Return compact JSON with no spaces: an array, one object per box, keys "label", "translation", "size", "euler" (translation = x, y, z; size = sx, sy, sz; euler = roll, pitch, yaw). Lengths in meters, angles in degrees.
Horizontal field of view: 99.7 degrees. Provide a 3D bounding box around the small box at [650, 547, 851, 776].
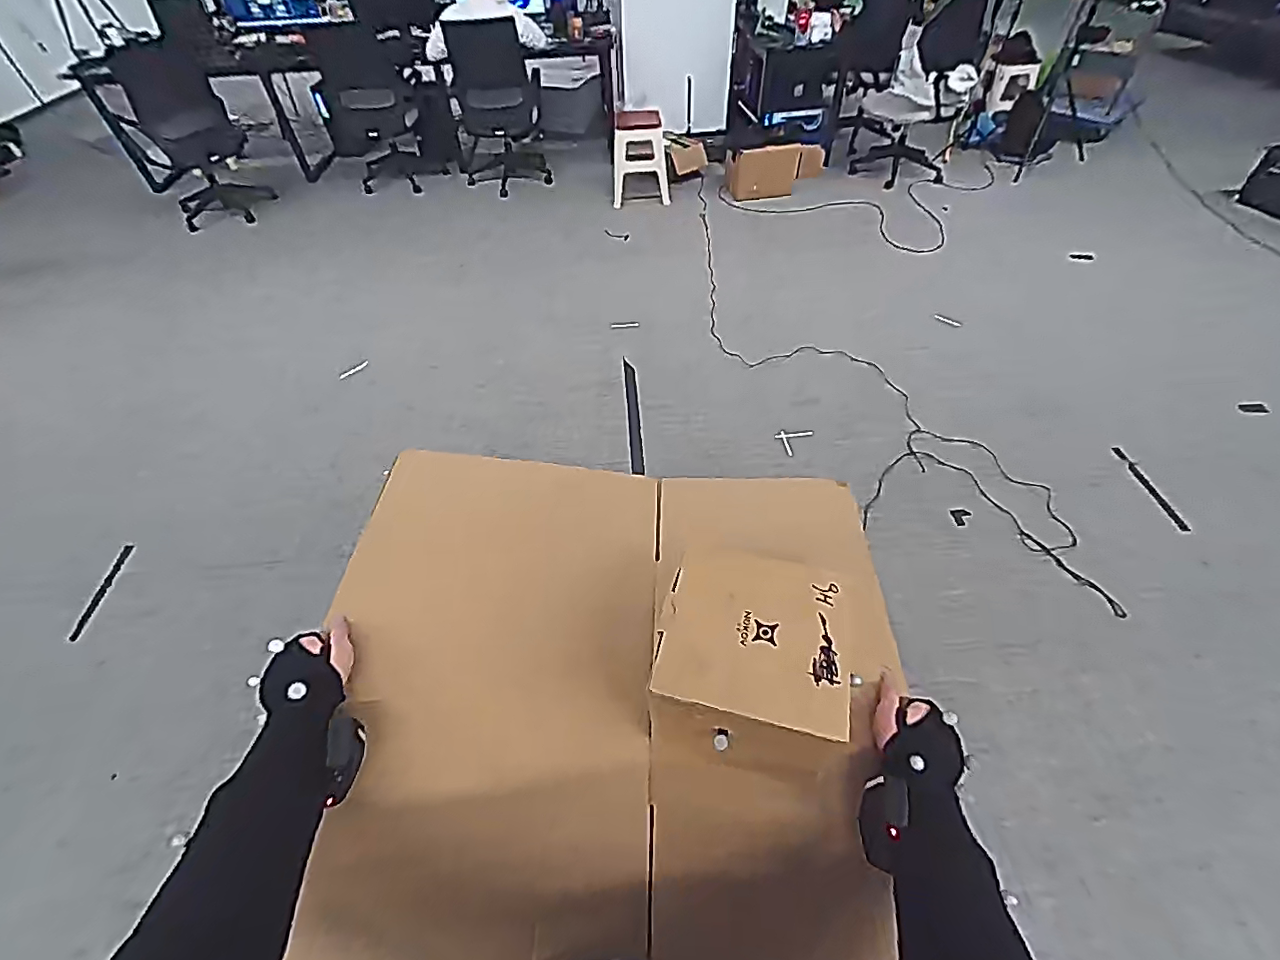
[{"label":"small box","translation":[0.120,0.197,0.584],"size":[0.179,0.176,0.168],"euler":[9,51,14]}]
